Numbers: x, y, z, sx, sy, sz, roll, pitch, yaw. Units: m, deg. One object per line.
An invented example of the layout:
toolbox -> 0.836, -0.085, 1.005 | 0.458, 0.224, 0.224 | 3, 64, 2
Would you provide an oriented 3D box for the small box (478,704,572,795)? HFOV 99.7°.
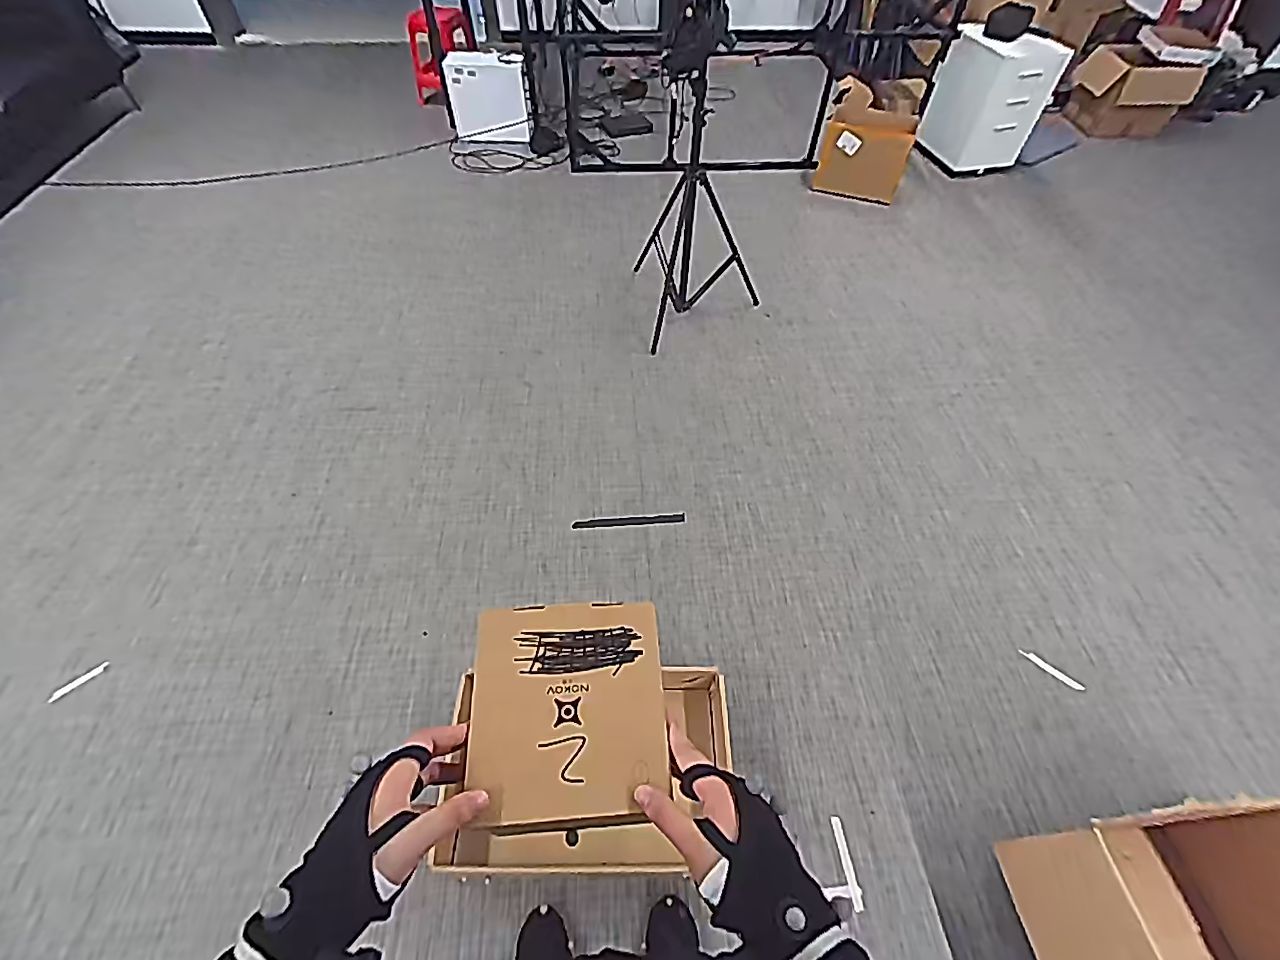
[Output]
small box -> -0.253, 0.618, 1.233 | 0.179, 0.176, 0.168 | 2, 55, -2
